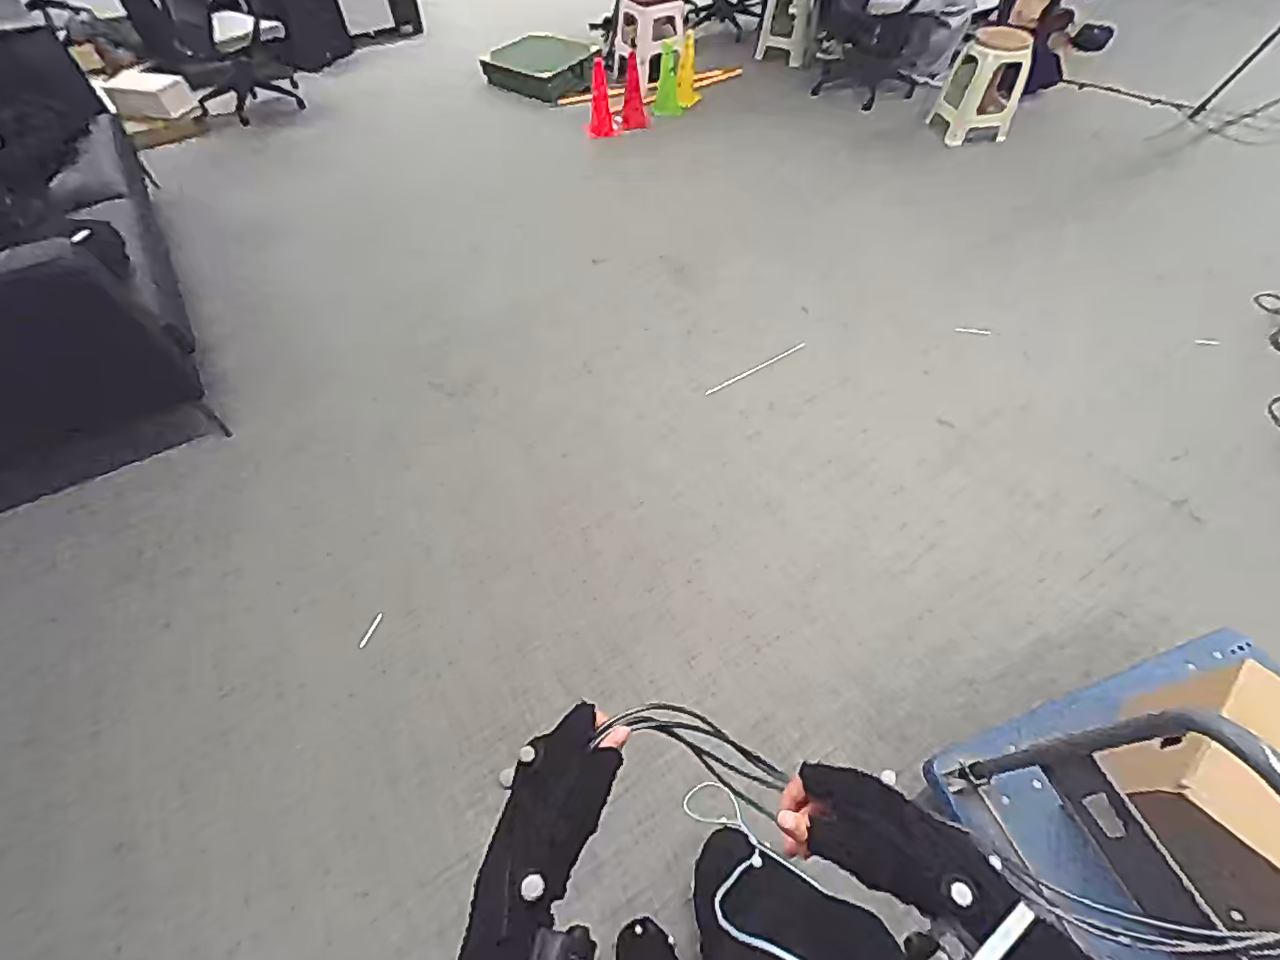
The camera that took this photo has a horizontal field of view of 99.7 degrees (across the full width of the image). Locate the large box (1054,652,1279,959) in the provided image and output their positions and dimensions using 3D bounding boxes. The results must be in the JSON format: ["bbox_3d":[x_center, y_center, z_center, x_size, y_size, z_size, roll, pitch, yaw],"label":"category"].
[{"bbox_3d":[1.076,0.591,0.945,0.320,0.320,0.408,-37,61,-22],"label":"large box"}]
